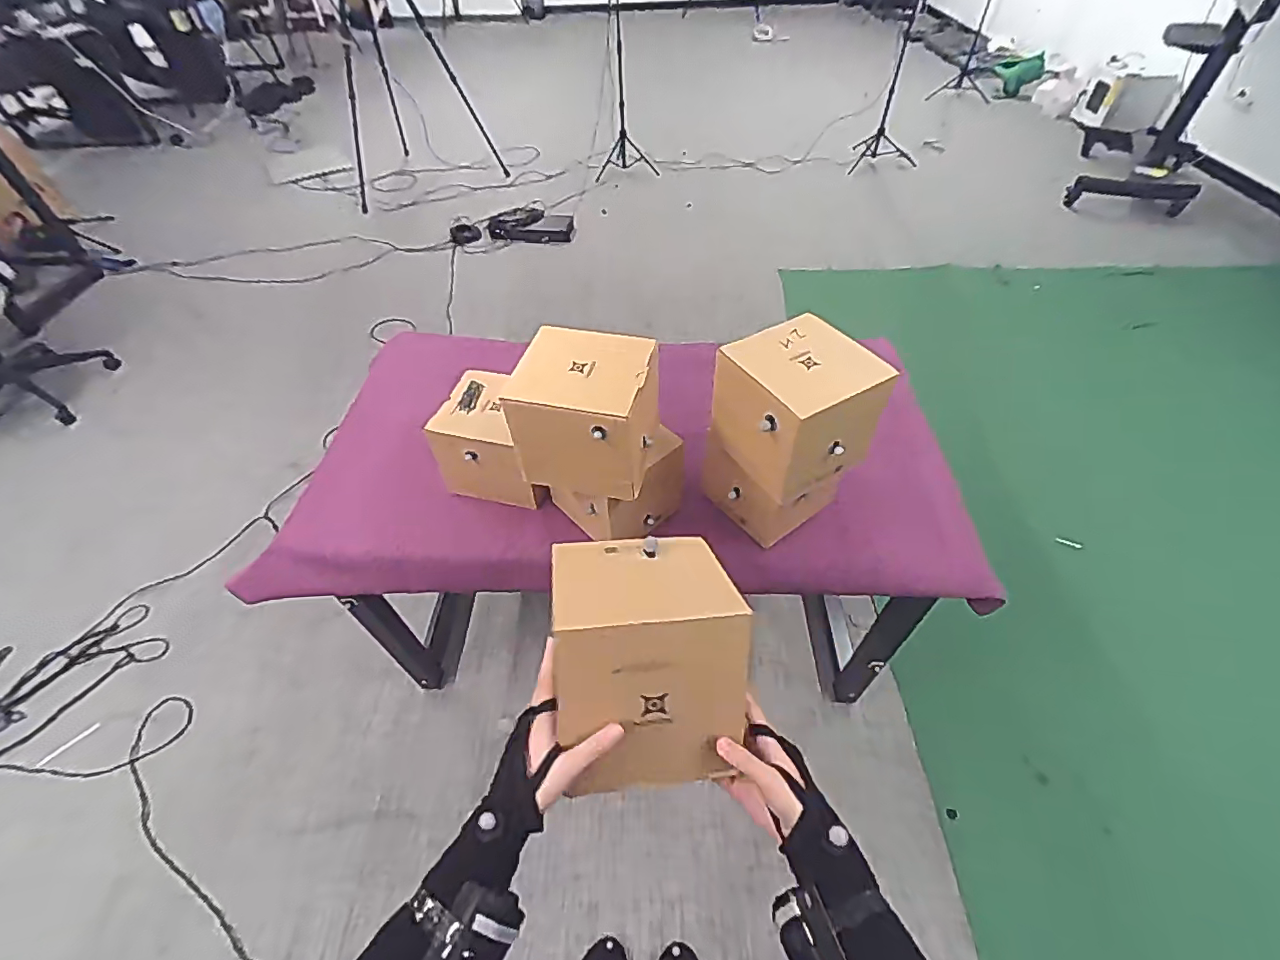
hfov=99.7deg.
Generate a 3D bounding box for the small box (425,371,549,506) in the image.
[{"bbox_3d":[-0.251,-0.073,0.984,0.179,0.176,0.168,11,51,10],"label":"small box"}]

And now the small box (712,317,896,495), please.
[{"bbox_3d":[0.221,-0.100,0.777,0.168,0.176,0.179,-24,51,-19],"label":"small box"}]

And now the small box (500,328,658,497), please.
[{"bbox_3d":[-0.076,-0.095,0.784,0.179,0.176,0.168,10,50,9],"label":"small box"}]

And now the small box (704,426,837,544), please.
[{"bbox_3d":[0.227,-0.021,0.927,0.179,0.176,0.168,-31,55,-22],"label":"small box"}]
